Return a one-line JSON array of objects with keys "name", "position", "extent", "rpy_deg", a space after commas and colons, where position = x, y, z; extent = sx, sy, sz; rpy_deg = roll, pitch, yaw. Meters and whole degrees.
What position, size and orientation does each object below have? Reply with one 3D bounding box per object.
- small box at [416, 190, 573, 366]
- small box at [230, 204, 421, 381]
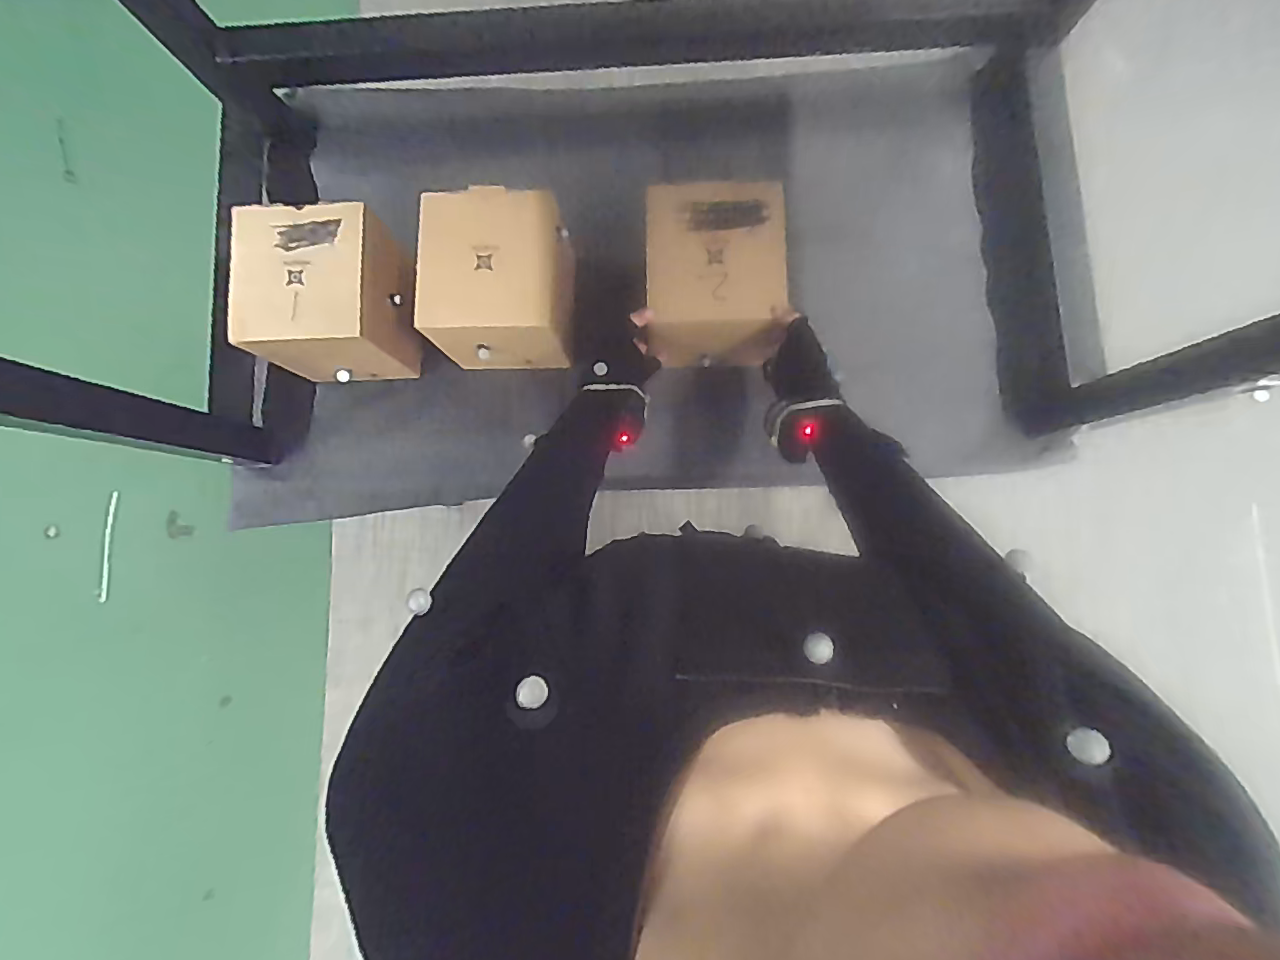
[{"name": "small box", "position": [-0.186, -0.260, 0.736], "extent": [0.168, 0.176, 0.179], "rpy_deg": [0, 82, 2]}, {"name": "small box", "position": [-0.412, -0.246, 0.740], "extent": [0.168, 0.176, 0.179], "rpy_deg": [-2, 84, 2]}]
